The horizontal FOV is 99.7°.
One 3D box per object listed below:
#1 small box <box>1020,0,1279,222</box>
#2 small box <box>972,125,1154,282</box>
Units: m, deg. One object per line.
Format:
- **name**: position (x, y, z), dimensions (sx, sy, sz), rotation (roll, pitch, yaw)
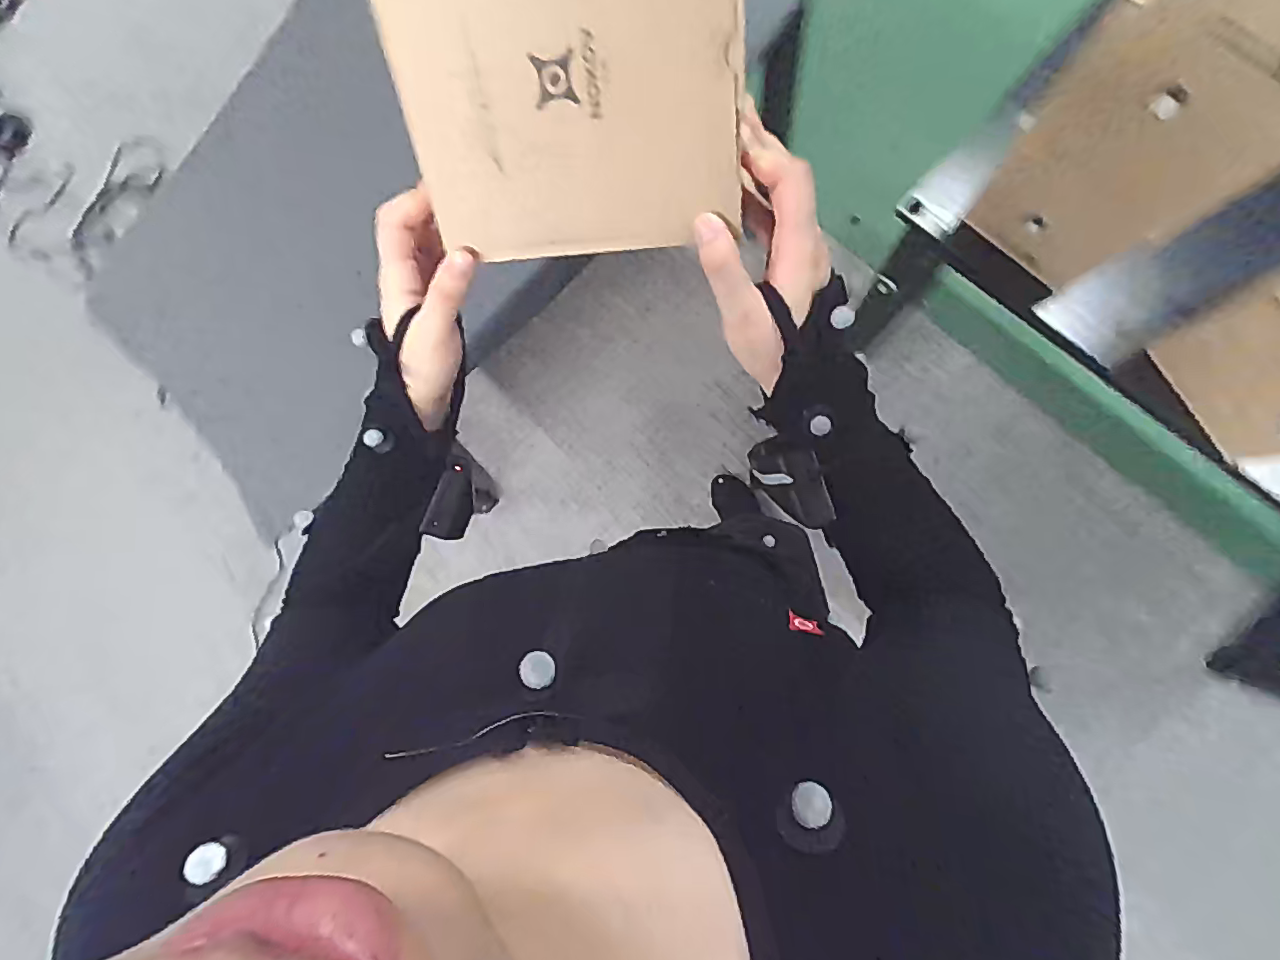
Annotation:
- **small box**: position (0.488, -0.357, 0.461), dimensions (0.179, 0.176, 0.168), rotation (44, 95, 10)
- **small box**: position (0.523, -0.365, 0.620), dimensions (0.168, 0.176, 0.179), rotation (44, 95, 8)
